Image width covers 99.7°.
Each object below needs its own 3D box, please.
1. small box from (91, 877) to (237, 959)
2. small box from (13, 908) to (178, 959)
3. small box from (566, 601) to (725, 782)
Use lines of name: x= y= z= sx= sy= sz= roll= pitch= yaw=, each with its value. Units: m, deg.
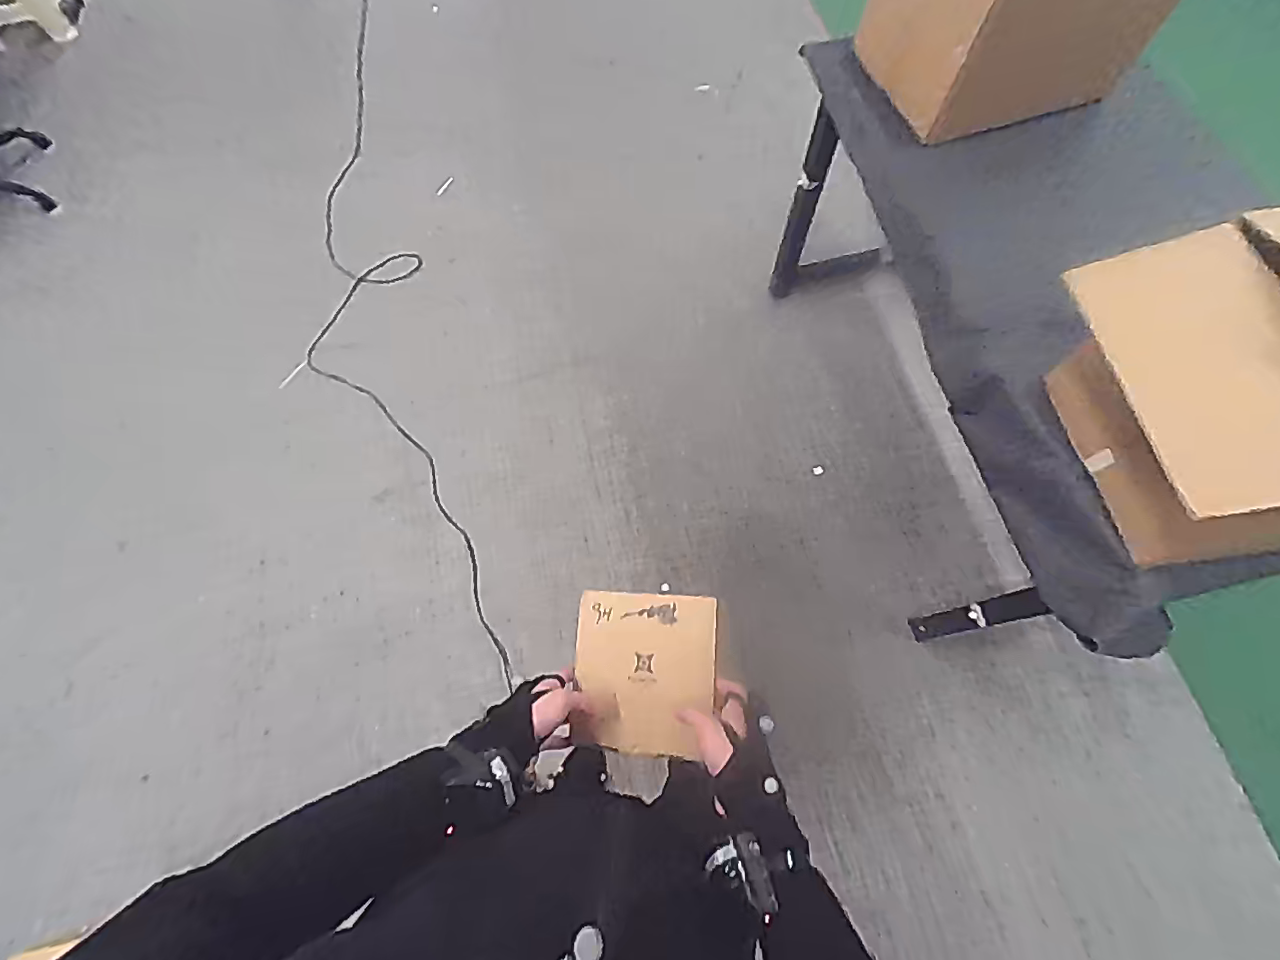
small box: x=-0.996 y=0.971 z=1.134 sx=0.179 sy=0.176 sz=0.168 roll=-12 pitch=71 yaw=-4
small box: x=-0.994 y=0.917 z=0.981 sx=0.179 sy=0.176 sz=0.168 roll=-12 pitch=69 yaw=-2
small box: x=0.018 y=0.246 z=0.673 sx=0.168 sy=0.176 sz=0.179 roll=0 pitch=78 yaw=13
